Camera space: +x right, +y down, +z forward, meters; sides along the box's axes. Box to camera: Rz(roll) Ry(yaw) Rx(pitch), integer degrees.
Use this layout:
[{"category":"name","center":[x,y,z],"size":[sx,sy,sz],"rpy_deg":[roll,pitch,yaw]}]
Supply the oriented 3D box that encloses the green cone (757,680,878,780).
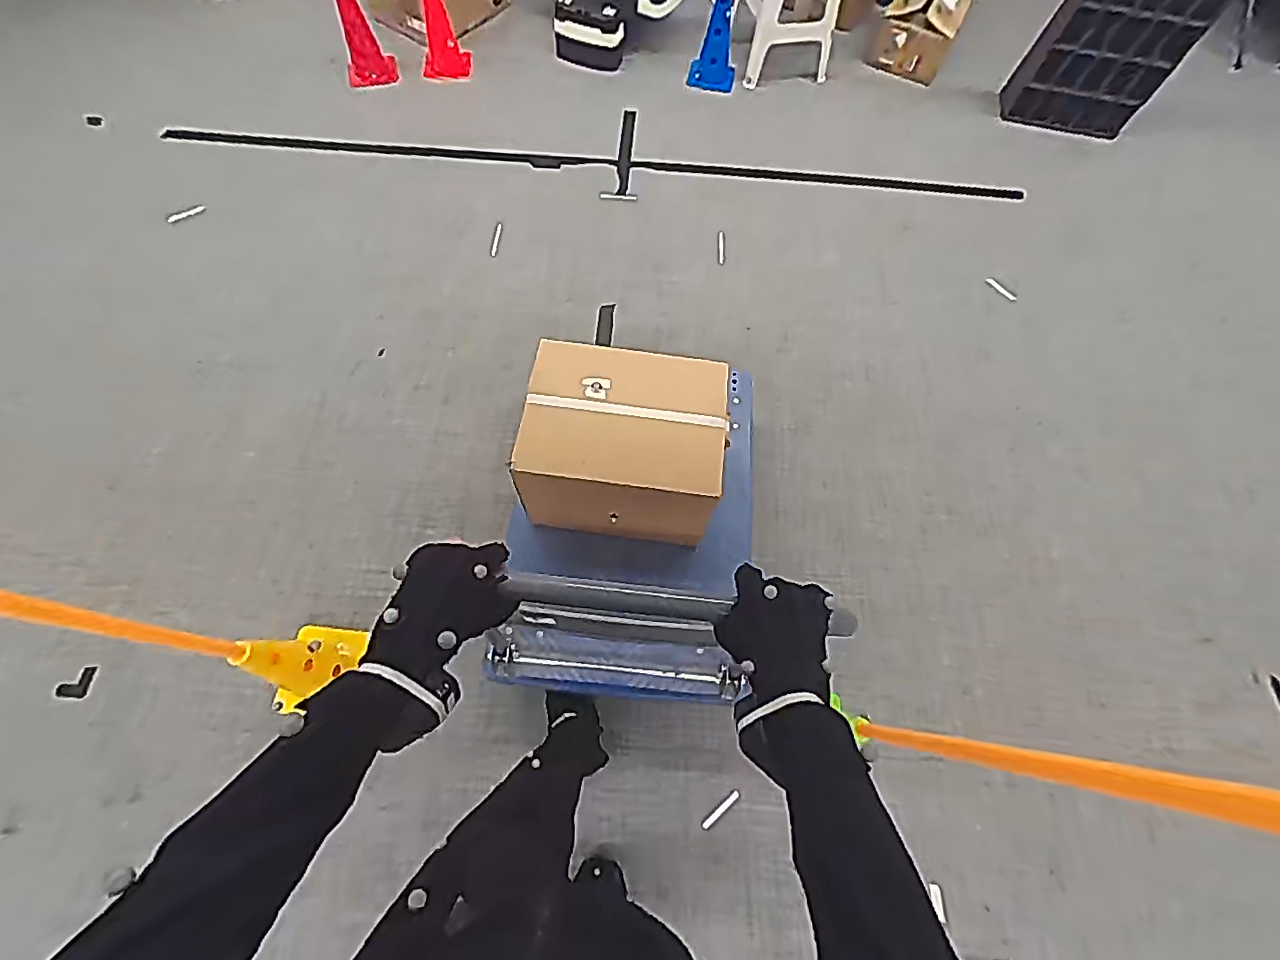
[{"category":"green cone","center":[0.392,0.522,1.132],"size":[0.202,0.368,0.200],"rpy_deg":[8,65,-1]}]

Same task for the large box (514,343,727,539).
[{"category":"large box","center":[-0.031,-0.073,1.223],"size":[0.408,0.320,0.320],"rpy_deg":[8,66,1]}]
